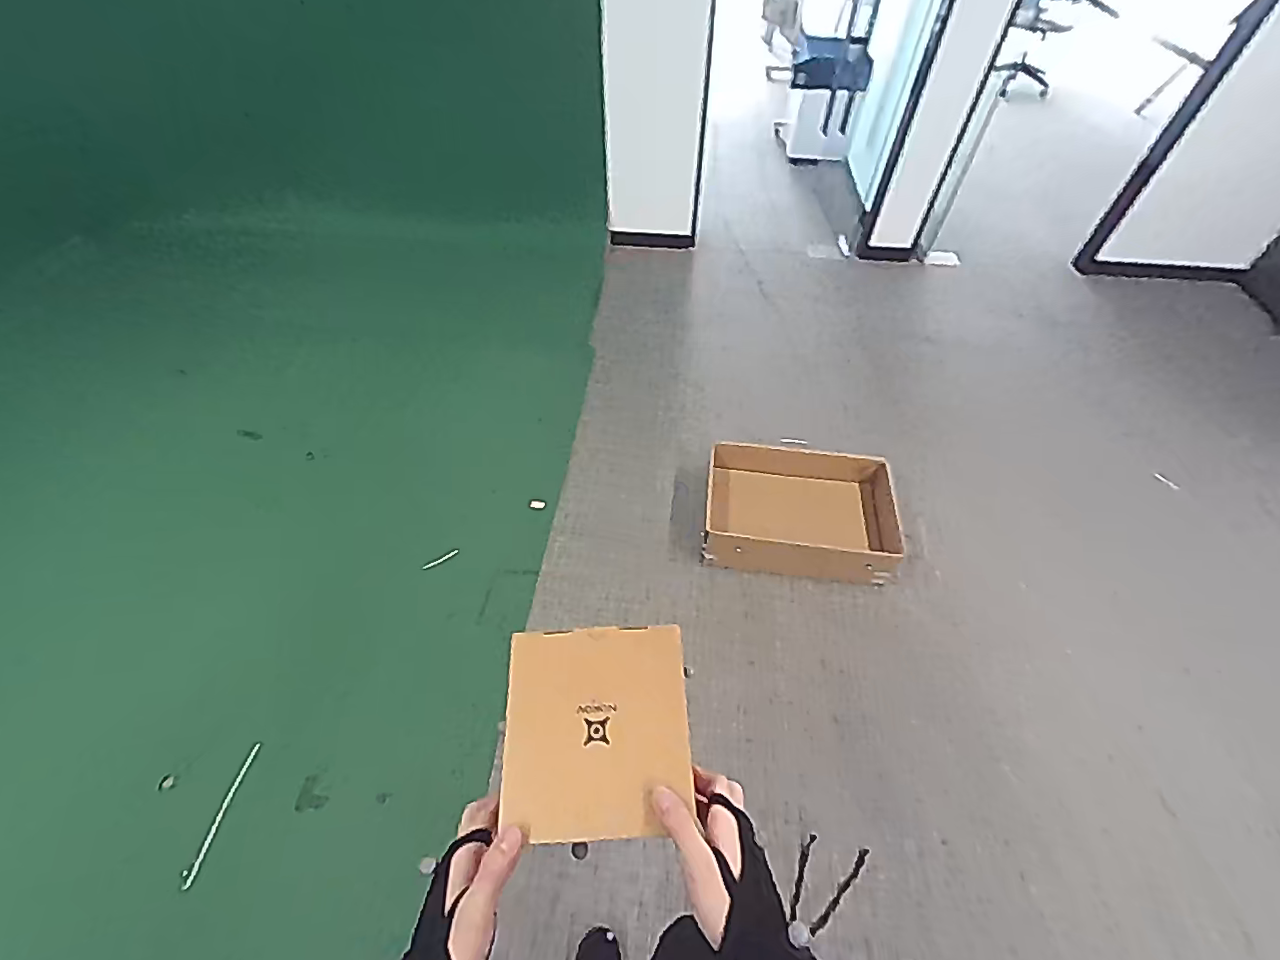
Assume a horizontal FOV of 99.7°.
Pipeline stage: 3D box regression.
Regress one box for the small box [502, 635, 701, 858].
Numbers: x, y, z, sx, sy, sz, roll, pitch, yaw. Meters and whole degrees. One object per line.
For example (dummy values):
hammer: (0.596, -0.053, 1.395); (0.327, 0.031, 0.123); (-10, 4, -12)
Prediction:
small box: (-0.030, 0.268, 0.546); (0.168, 0.176, 0.179); (-2, 57, 0)
